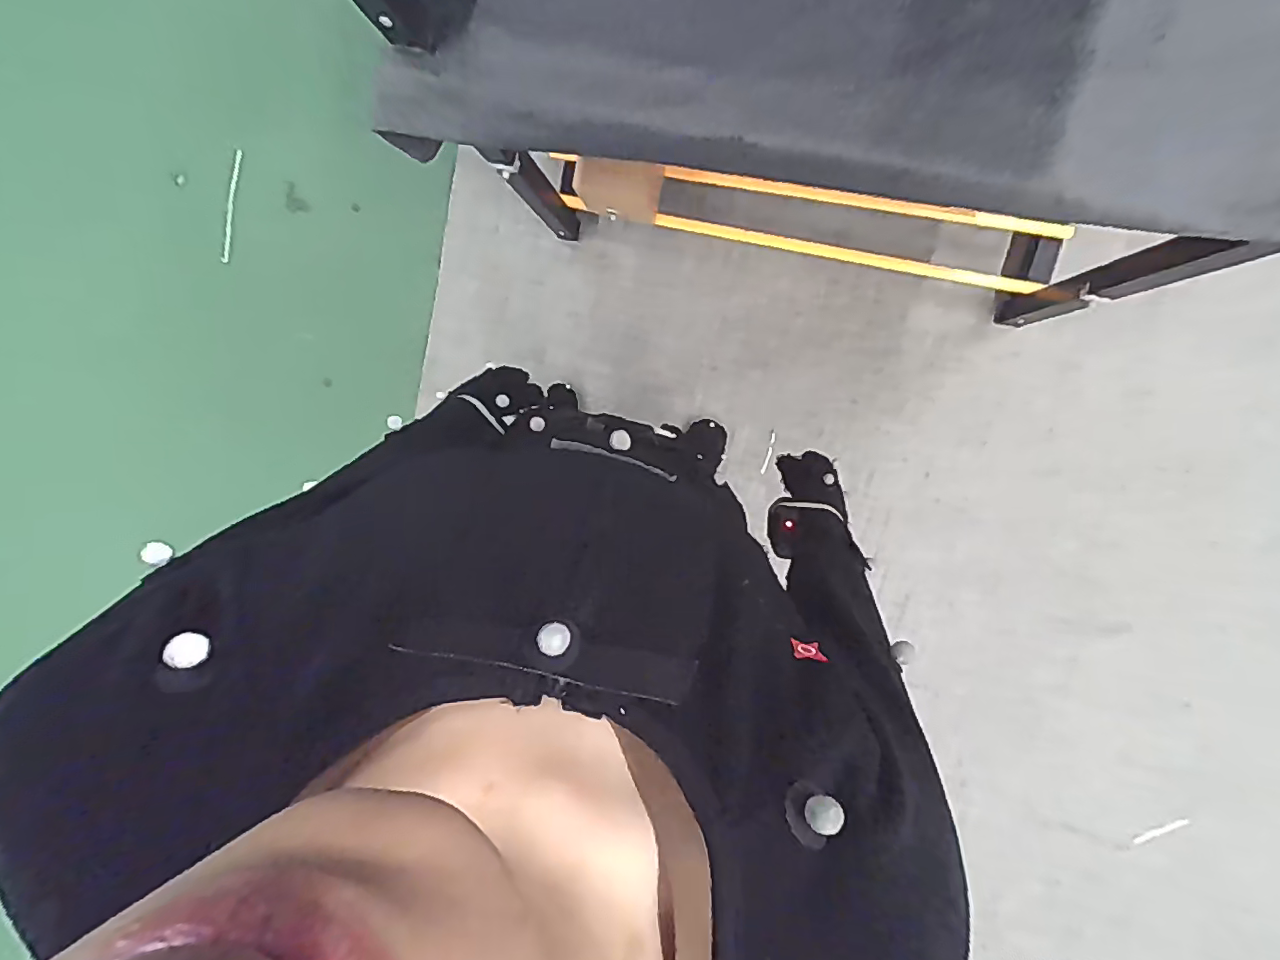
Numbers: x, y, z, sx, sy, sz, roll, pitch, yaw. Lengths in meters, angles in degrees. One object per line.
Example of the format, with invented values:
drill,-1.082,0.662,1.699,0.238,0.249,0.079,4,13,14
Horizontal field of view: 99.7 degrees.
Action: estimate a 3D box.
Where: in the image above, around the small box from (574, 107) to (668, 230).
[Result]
small box,-0.036,-0.692,1.217,0.168,0.176,0.179,13,100,7
